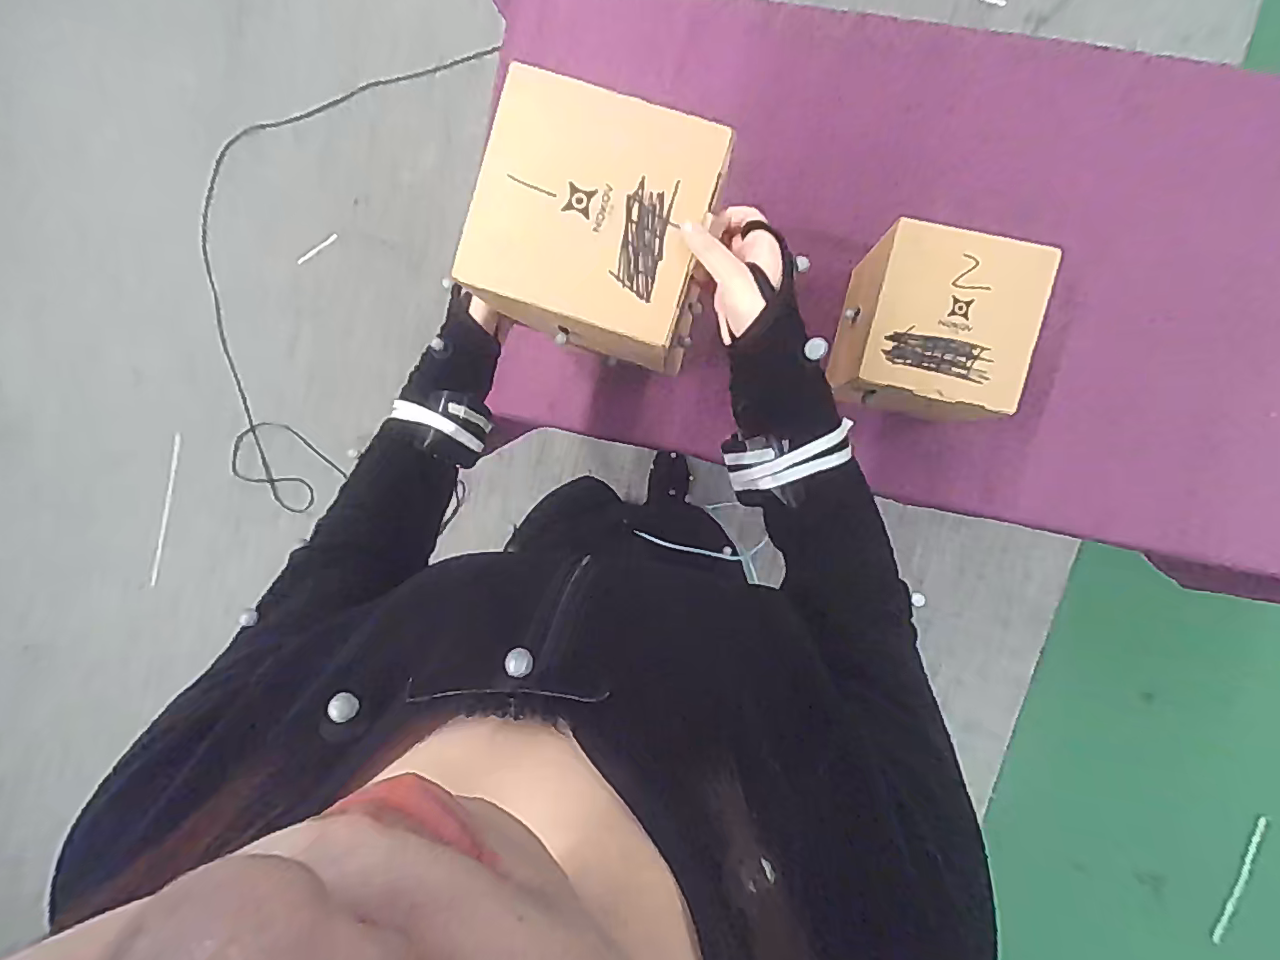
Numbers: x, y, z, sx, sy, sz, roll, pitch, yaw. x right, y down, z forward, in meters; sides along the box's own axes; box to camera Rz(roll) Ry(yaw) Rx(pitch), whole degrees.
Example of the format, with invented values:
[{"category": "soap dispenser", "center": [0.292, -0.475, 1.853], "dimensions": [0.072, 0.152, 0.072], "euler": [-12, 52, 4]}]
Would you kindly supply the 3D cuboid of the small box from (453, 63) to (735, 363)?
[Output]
[{"category": "small box", "center": [-0.033, -0.212, 0.485], "dimensions": [0.179, 0.176, 0.168], "euler": [19, 96, 1]}]
